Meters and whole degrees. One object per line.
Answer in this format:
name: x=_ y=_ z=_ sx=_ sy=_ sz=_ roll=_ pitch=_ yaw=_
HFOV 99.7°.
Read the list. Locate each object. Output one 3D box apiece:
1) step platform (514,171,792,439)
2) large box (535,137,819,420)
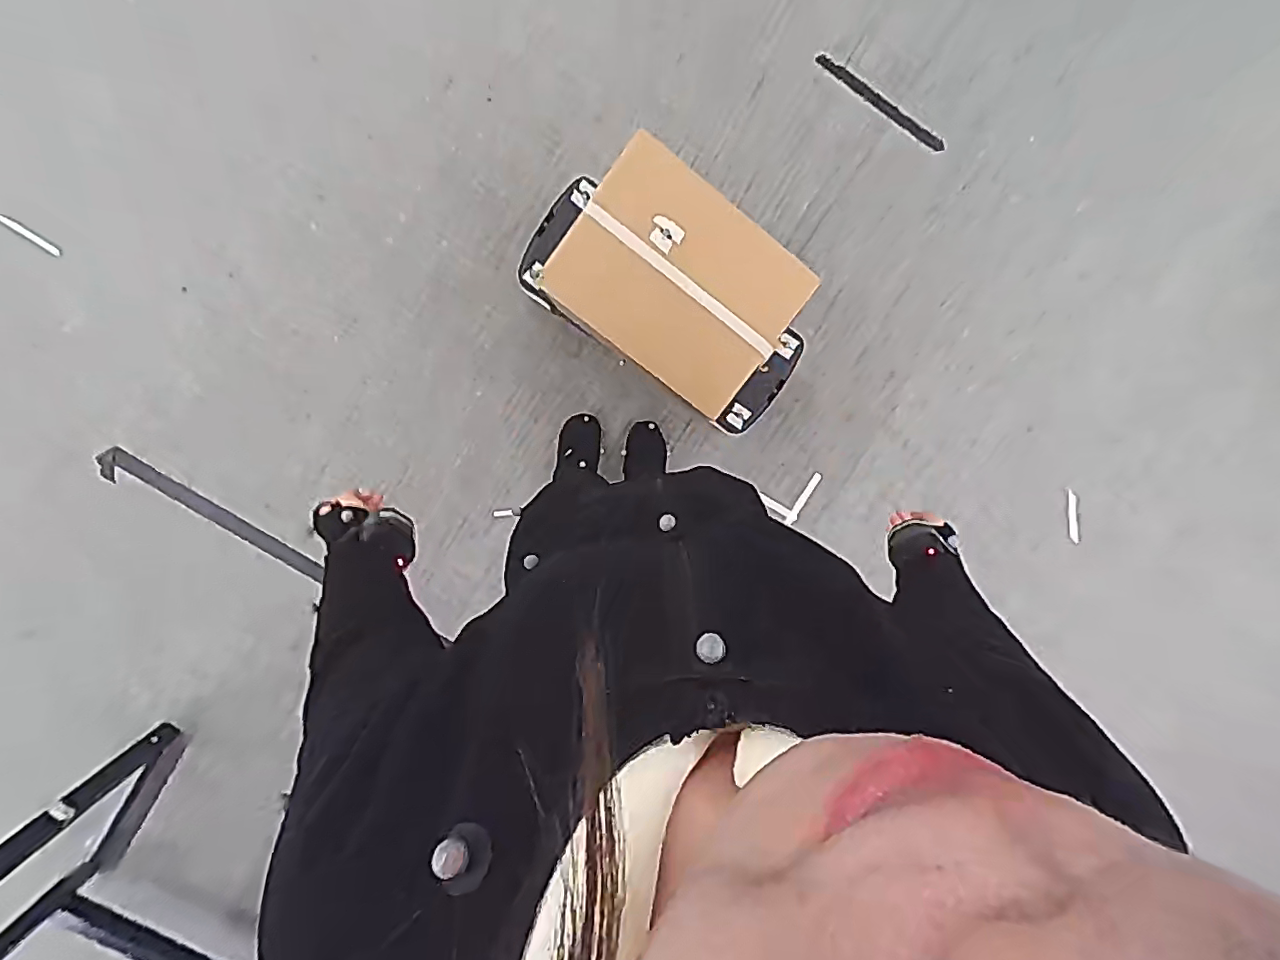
step platform: x=0.034 y=-0.403 z=1.315 sx=0.684 sy=0.204 sz=0.286 roll=39 pitch=96 yaw=-6
large box: x=0.065 y=-0.362 z=1.081 sx=0.408 sy=0.320 sz=0.320 roll=36 pitch=96 yaw=-6
